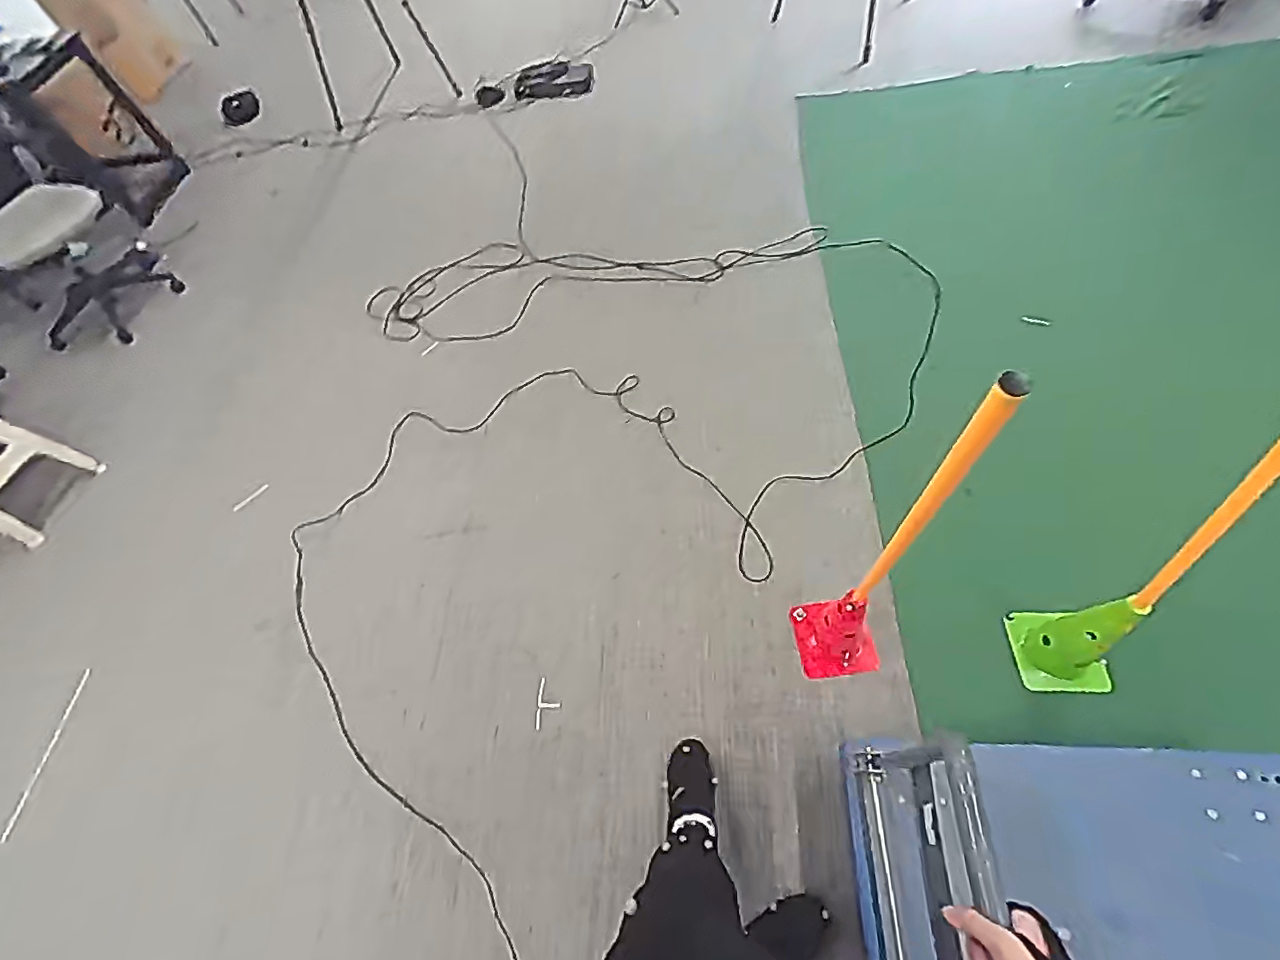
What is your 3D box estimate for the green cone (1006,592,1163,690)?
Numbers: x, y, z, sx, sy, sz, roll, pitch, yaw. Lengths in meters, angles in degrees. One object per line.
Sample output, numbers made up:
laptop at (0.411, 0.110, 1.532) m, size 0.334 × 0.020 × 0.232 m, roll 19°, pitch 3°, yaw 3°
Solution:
green cone at (1.040, 0.340, 1.230) m, size 0.202 × 0.368 × 0.200 m, roll -2°, pitch 58°, yaw 7°
